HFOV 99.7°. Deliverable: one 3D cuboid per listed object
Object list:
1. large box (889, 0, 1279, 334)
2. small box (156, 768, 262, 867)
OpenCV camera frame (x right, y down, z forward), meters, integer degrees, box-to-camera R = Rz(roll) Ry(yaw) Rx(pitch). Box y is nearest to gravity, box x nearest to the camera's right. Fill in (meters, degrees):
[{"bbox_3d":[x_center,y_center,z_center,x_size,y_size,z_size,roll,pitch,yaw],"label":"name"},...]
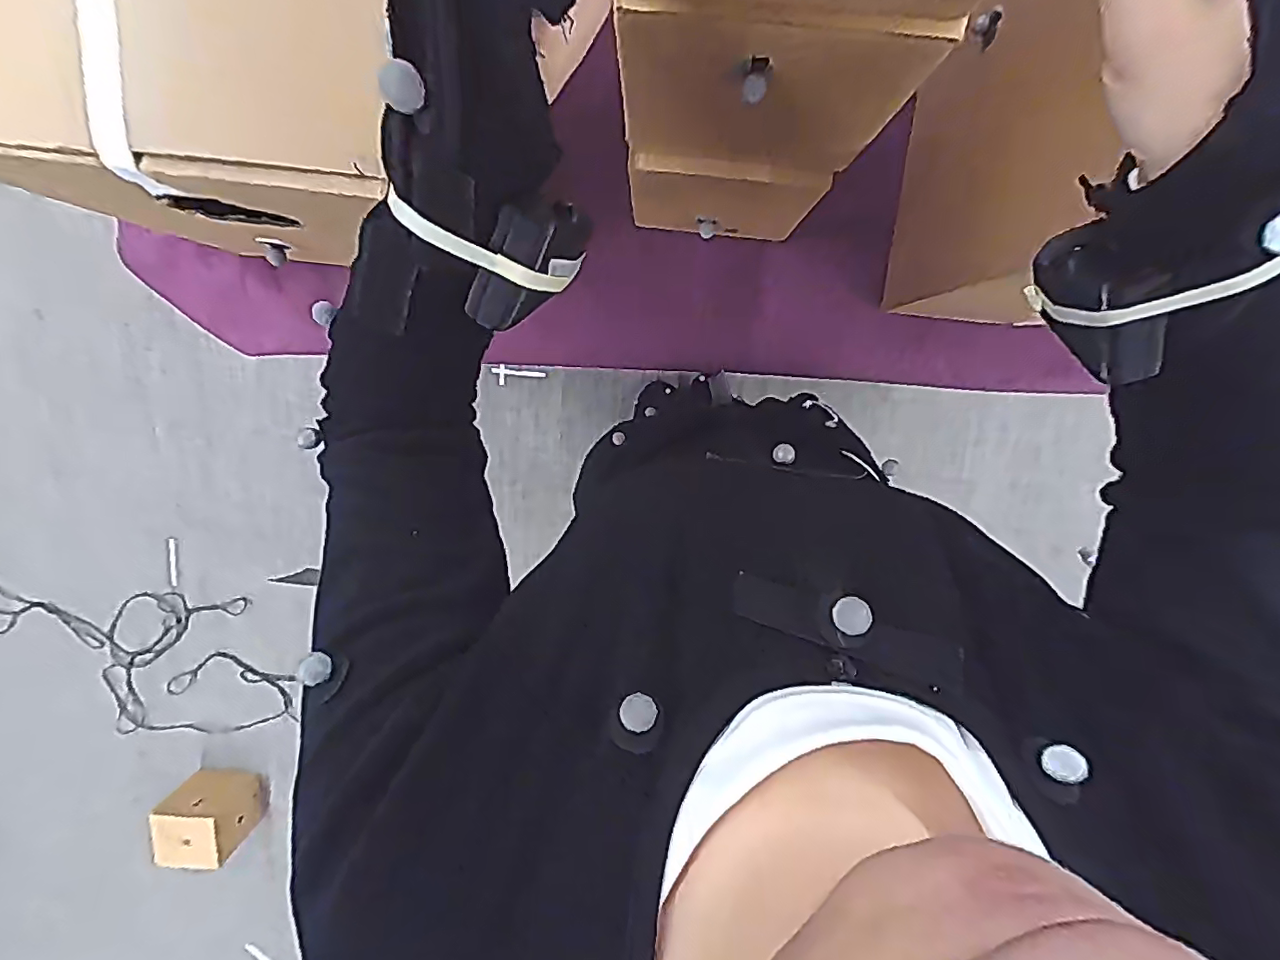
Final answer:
[{"bbox_3d":[0.427,-0.339,0.416,0.320,0.320,0.408,5,99,1],"label":"large box"},{"bbox_3d":[-1.201,0.945,1.525,0.179,0.176,0.168,4,101,1],"label":"small box"}]
